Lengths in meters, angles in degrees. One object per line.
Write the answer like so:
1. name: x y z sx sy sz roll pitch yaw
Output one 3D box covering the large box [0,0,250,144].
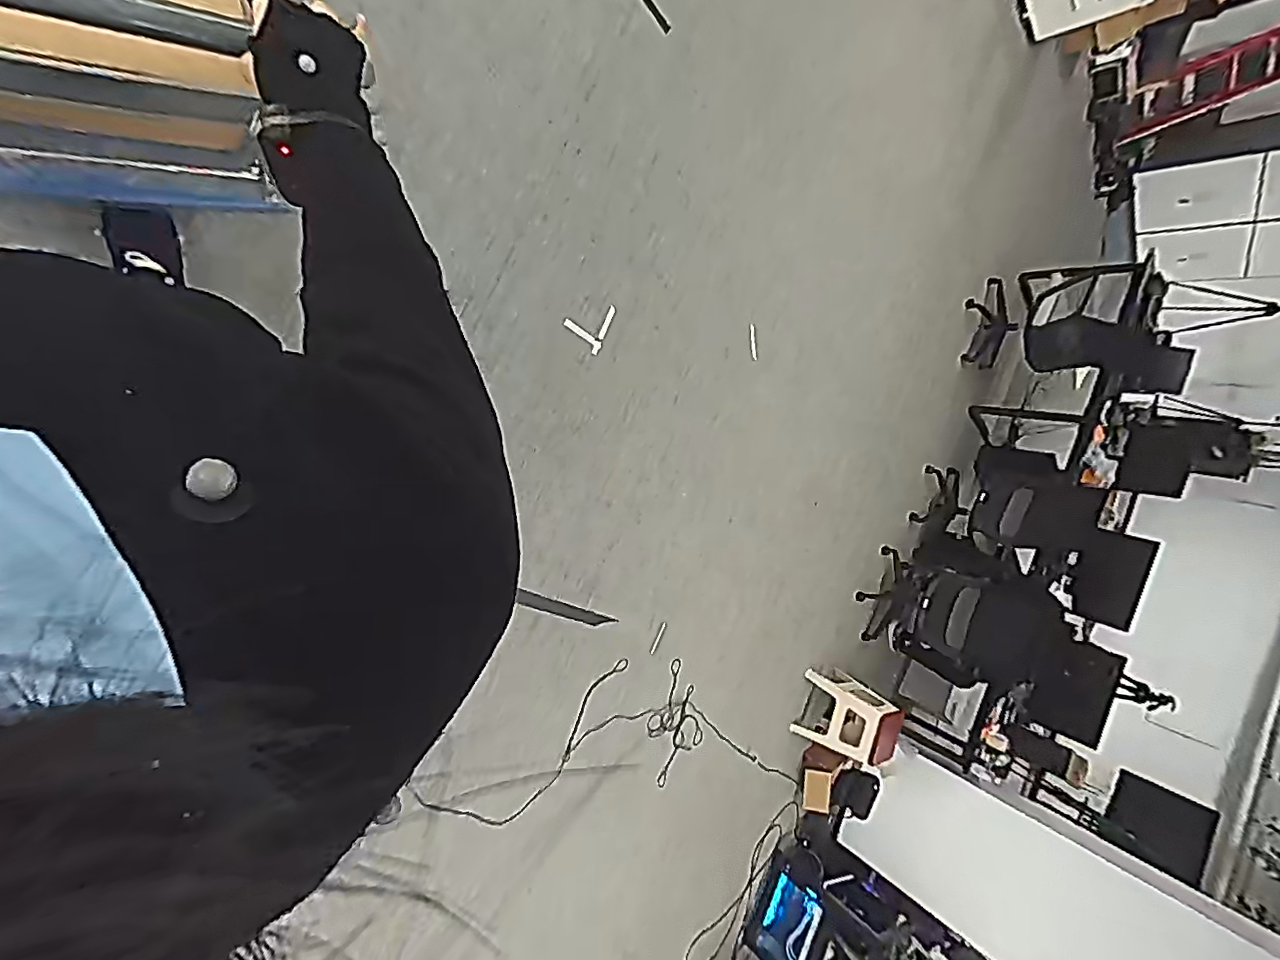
1. large box: -0.809 -0.679 0.708 0.408 0.320 0.320 -17 113 -40
